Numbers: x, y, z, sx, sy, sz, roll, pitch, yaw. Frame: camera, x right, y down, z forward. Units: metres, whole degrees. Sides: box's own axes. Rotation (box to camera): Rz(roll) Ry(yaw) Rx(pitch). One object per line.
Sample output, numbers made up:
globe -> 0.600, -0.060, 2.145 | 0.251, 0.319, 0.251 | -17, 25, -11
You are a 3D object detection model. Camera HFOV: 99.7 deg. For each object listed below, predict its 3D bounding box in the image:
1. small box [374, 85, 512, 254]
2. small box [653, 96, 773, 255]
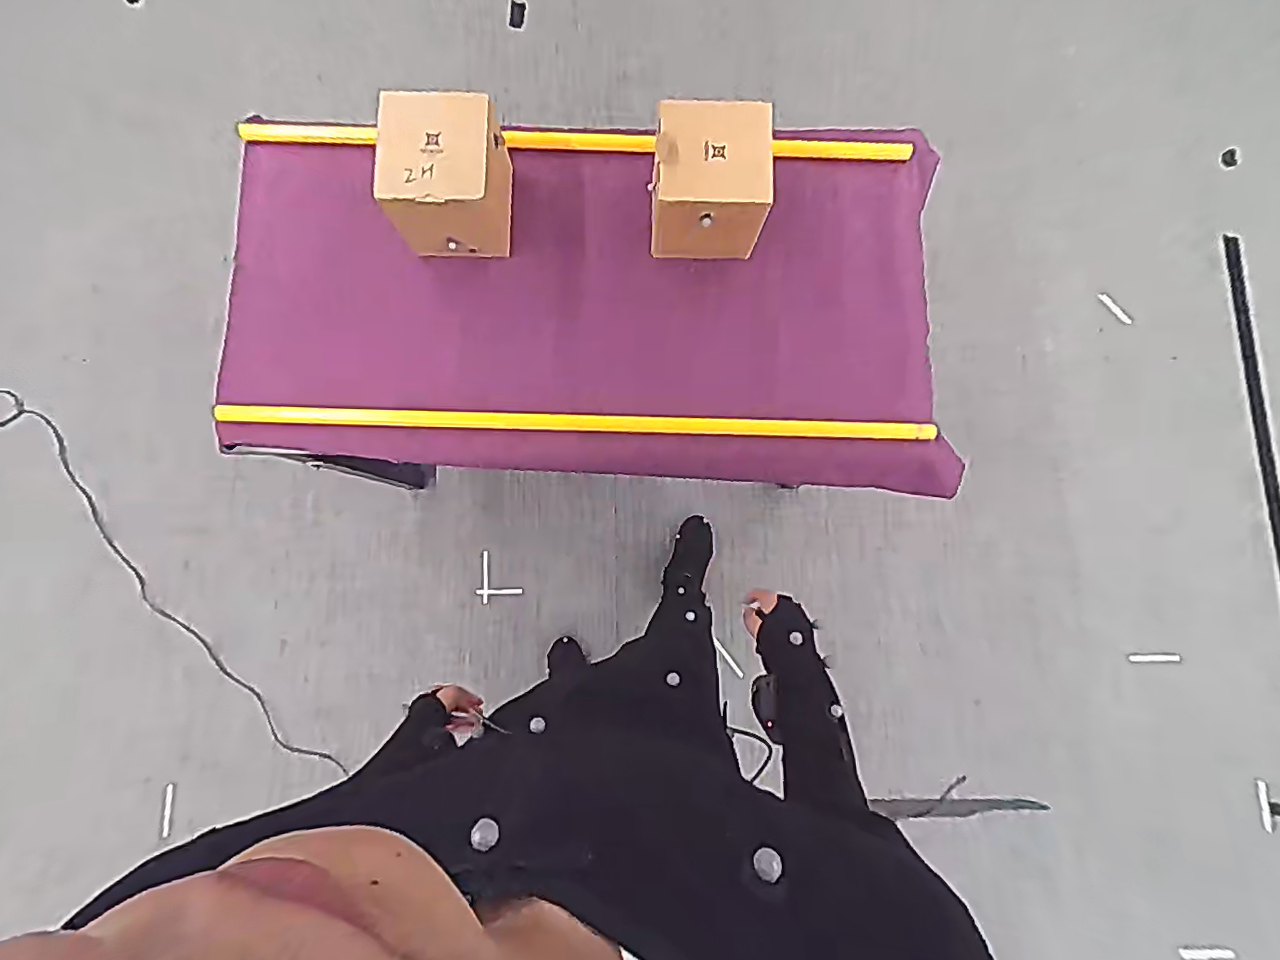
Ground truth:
small box -> -0.310, -0.498, 0.887 | 0.168, 0.176, 0.179 | 1, 85, -1
small box -> 0.113, -0.492, 0.895 | 0.179, 0.176, 0.168 | 1, 84, 0
